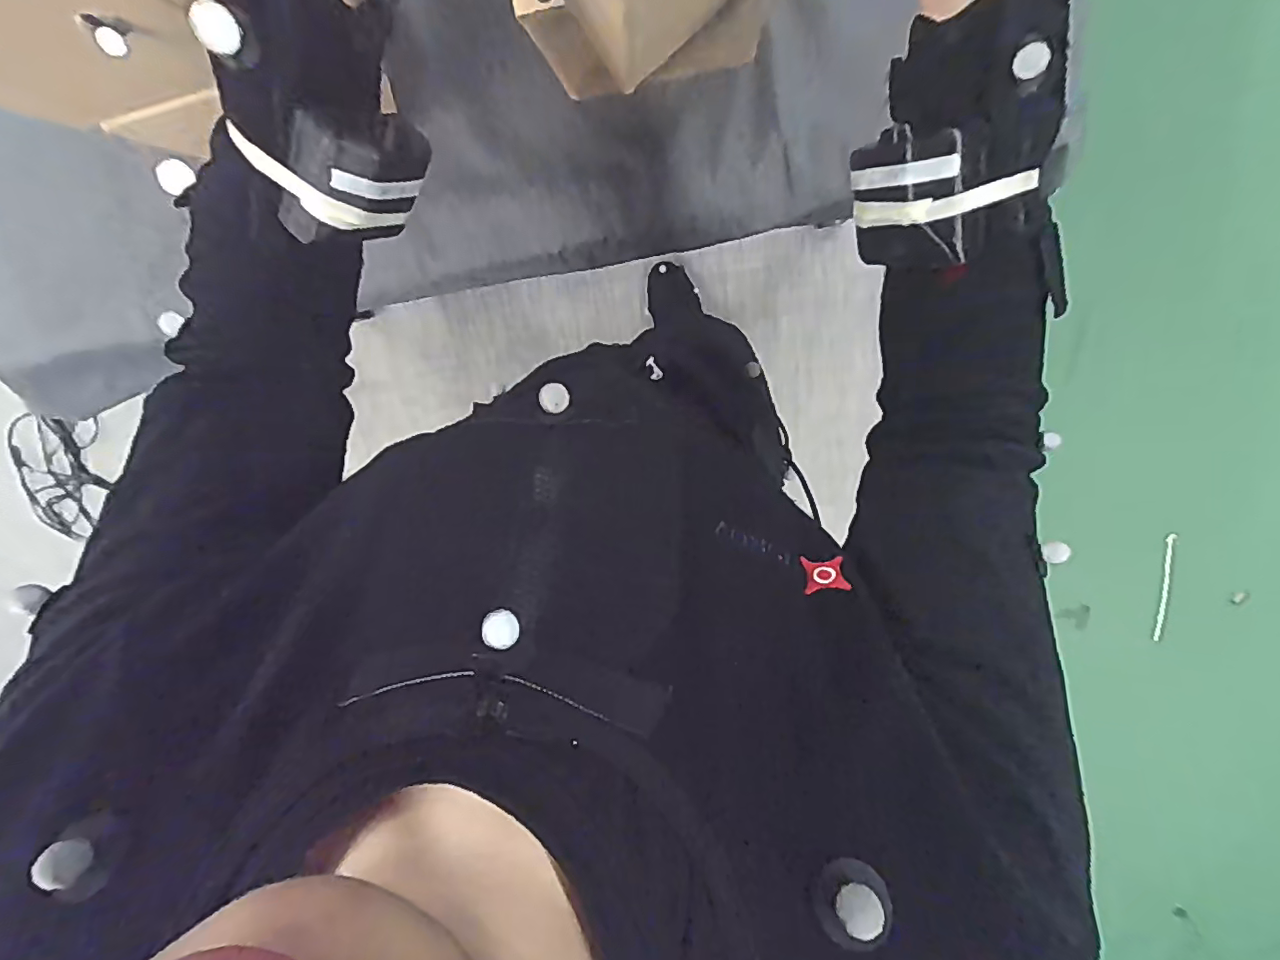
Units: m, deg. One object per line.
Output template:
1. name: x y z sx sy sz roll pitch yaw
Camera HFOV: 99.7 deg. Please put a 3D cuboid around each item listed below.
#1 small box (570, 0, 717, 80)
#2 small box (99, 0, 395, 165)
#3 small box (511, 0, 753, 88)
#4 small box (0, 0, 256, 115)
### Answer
1. small box: 0.010 -0.321 0.222 0.179 0.176 0.168 -35 111 14
2. small box: -0.339 -0.390 0.447 0.168 0.176 0.179 -8 109 8
3. small box: -0.006 -0.429 0.406 0.179 0.176 0.168 -7 108 7
4. small box: -0.359 -0.335 0.295 0.179 0.176 0.168 -10 107 9
